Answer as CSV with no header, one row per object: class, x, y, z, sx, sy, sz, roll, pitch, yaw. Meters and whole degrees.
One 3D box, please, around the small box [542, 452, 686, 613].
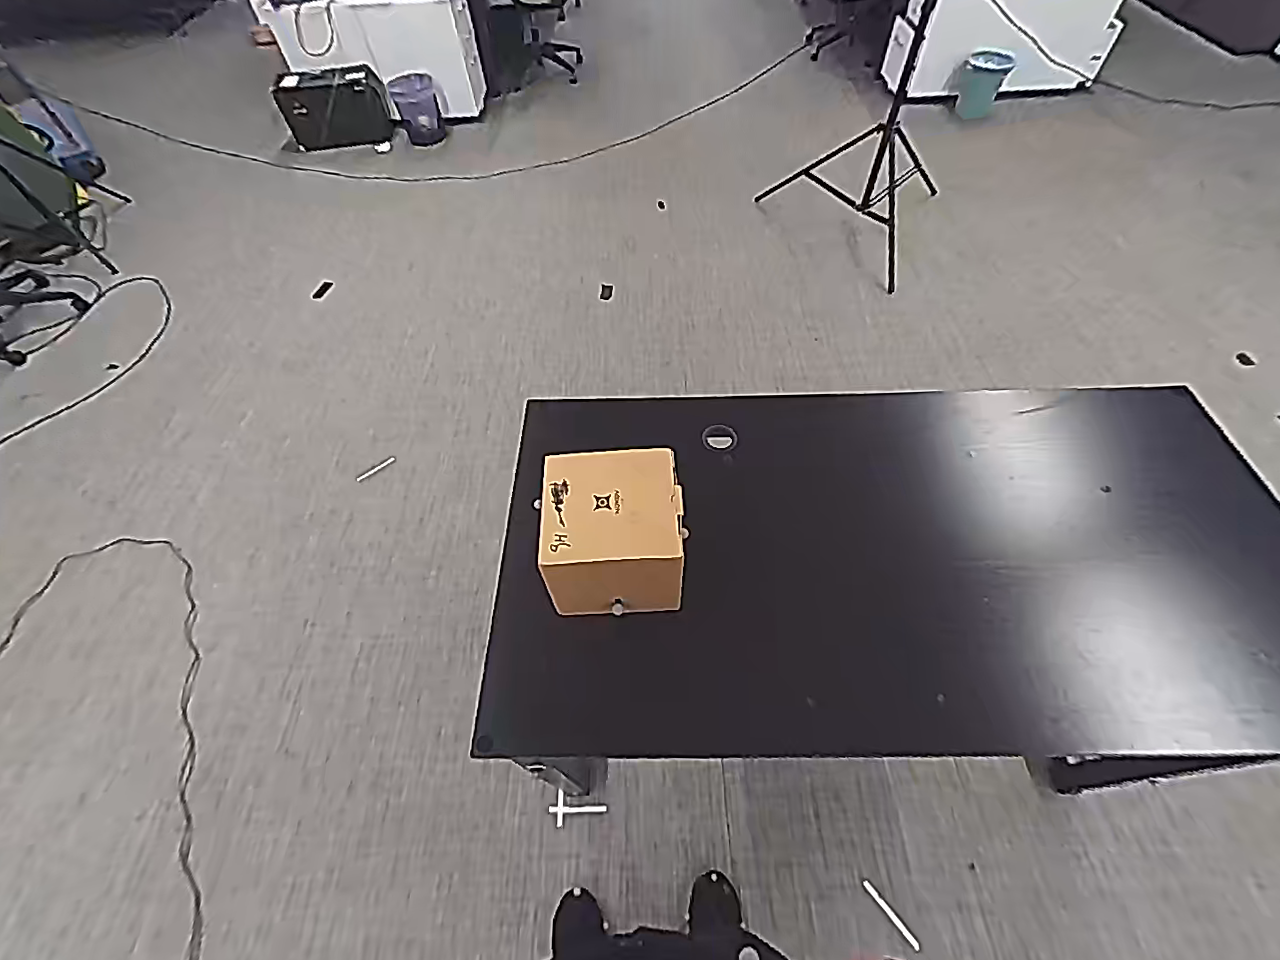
small box,-0.034,0.077,0.756,0.179,0.176,0.168,-2,55,-1
